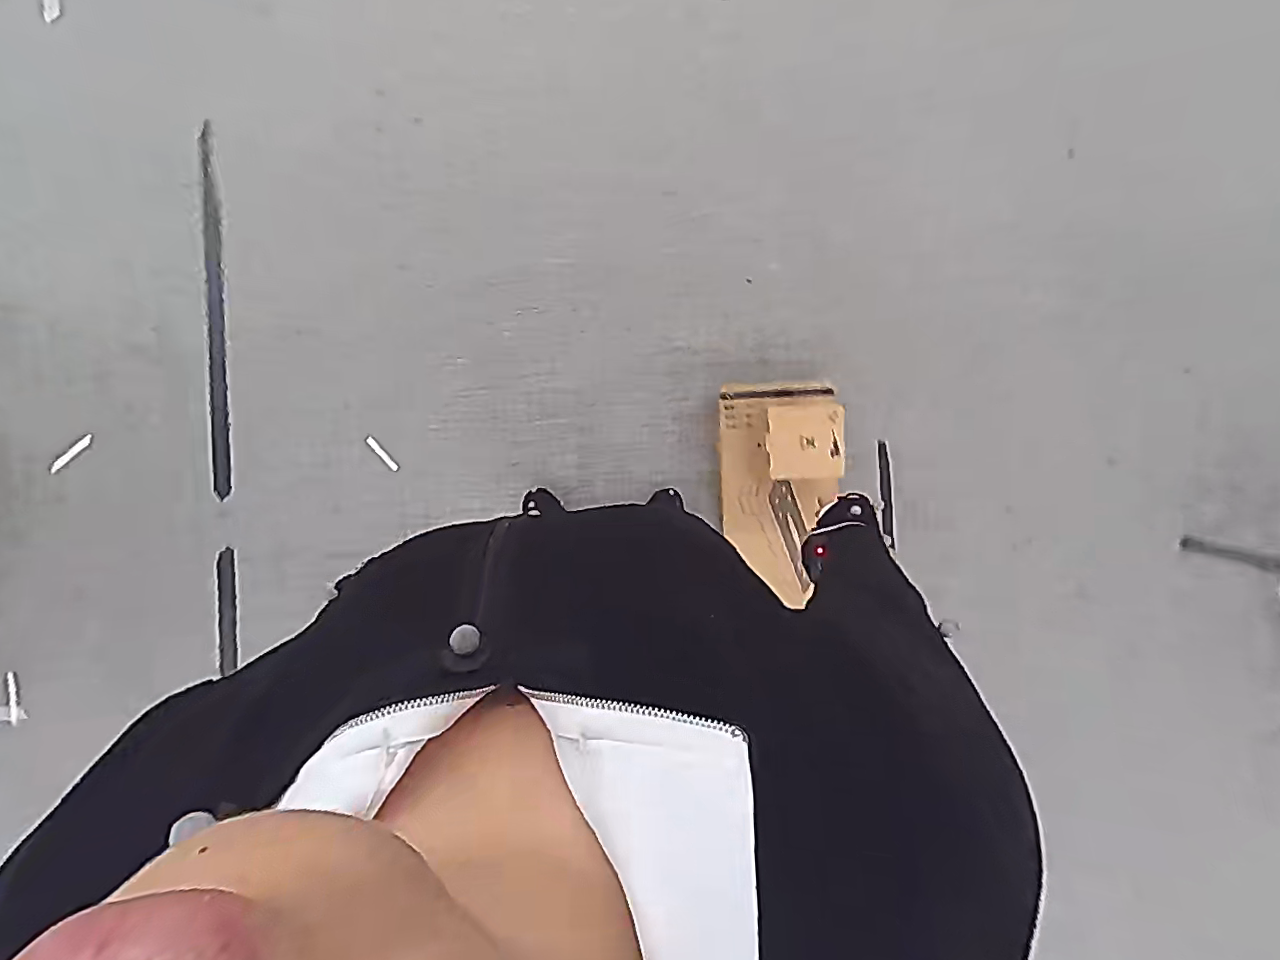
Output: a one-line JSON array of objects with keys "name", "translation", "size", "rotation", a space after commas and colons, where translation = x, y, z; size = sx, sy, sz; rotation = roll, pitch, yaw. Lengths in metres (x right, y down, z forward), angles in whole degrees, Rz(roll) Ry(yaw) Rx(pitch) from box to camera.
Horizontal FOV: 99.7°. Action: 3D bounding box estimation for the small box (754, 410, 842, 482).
[{"name": "small box", "translation": [0.374, -0.078, 1.312], "size": [0.179, 0.176, 0.168], "rotation": [-1, 90, 1]}]
